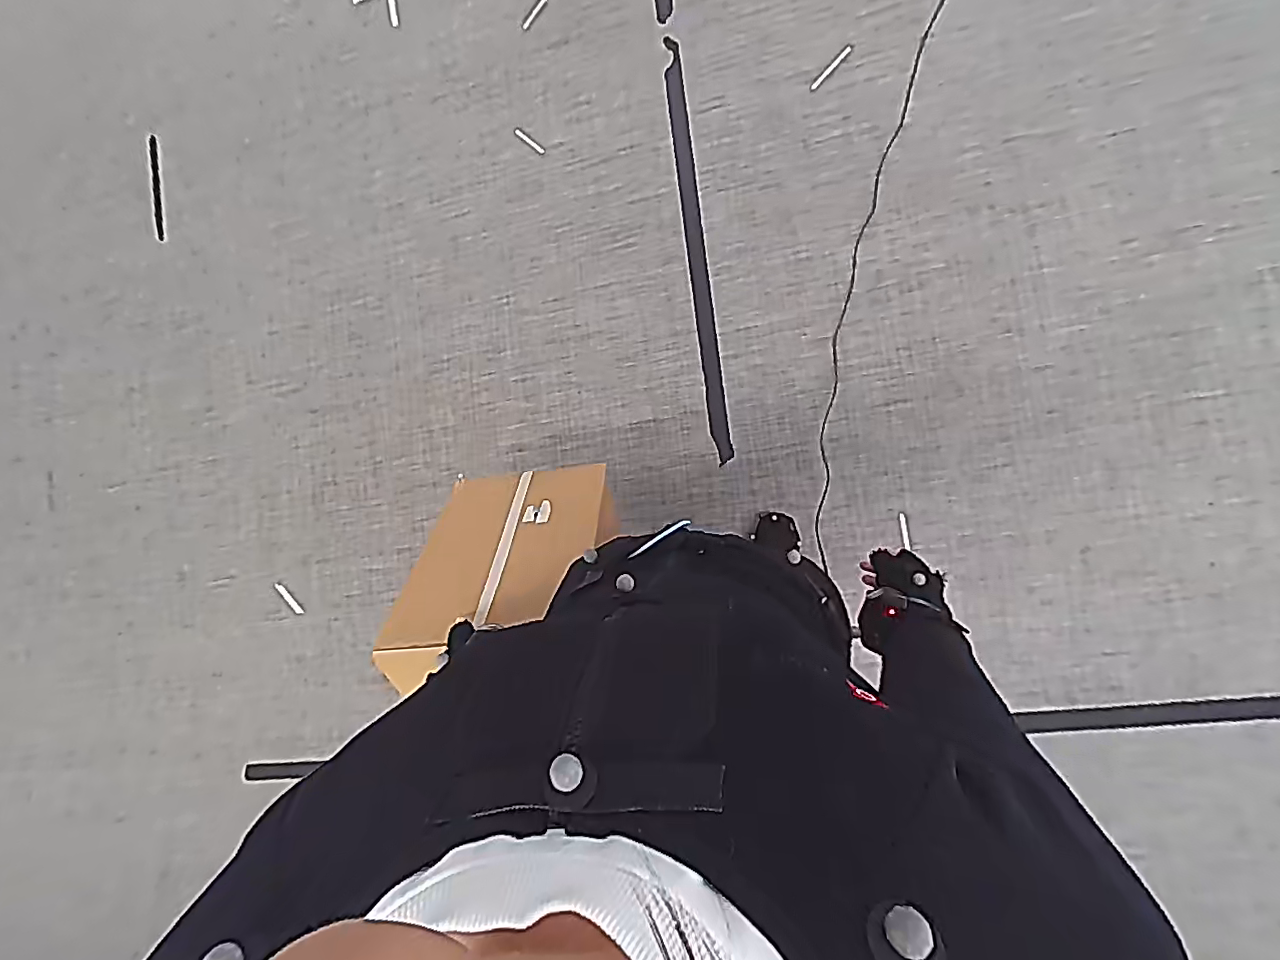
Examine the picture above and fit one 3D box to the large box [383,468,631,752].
[{"bbox_3d":[-0.196,0.229,1.004,0.320,0.408,0.320,-5,126,6],"label":"large box"}]
